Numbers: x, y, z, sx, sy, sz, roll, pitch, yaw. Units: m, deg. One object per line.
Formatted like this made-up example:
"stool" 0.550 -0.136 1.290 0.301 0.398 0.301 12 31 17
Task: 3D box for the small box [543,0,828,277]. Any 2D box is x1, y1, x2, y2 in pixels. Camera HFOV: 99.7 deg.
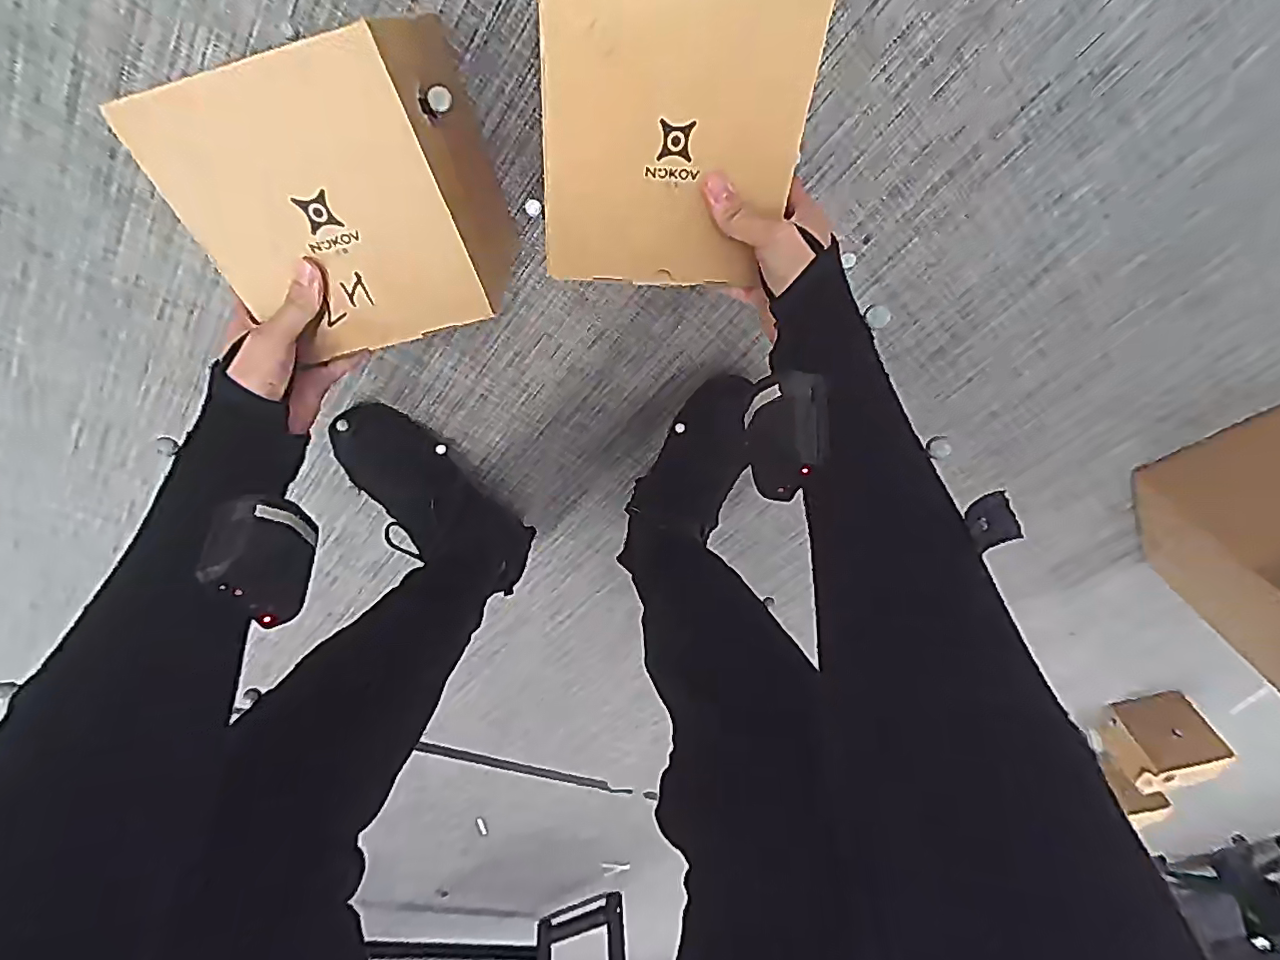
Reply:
"small box" 0.013 -0.271 0.406 0.168 0.176 0.179 -1 132 -7

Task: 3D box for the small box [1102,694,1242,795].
"small box" 1.353 0.679 1.394 0.179 0.176 0.168 -17 131 8

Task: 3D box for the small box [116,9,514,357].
"small box" -0.209 -0.226 0.414 0.168 0.176 0.179 -12 132 6
